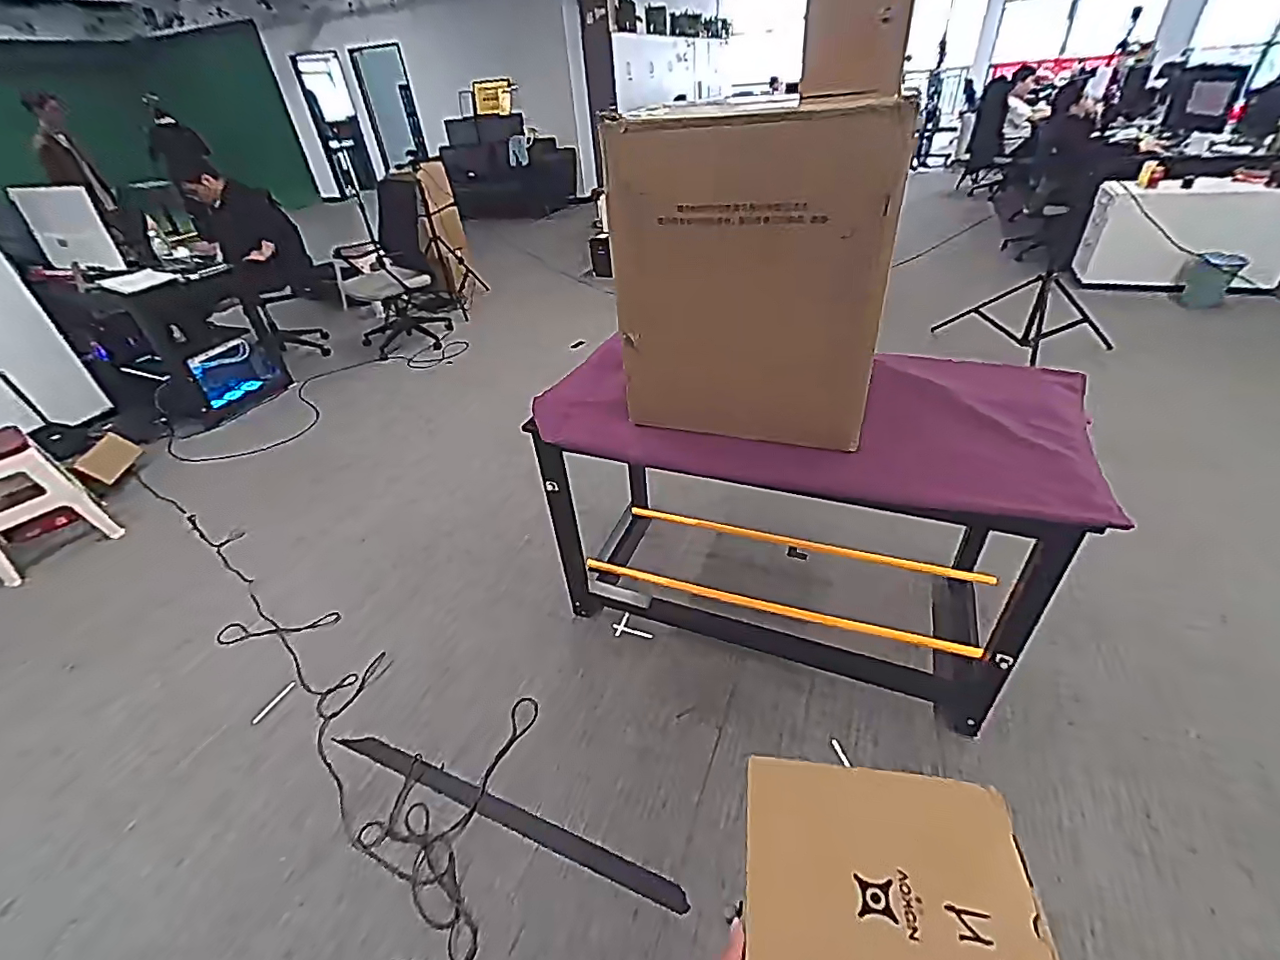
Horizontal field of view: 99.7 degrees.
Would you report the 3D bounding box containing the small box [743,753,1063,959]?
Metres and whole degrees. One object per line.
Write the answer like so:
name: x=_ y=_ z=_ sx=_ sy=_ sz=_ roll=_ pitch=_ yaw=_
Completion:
small box: x=0.161 y=0.322 z=0.376 sx=0.179 sy=0.176 sz=0.168 roll=2 pitch=36 yaw=11
